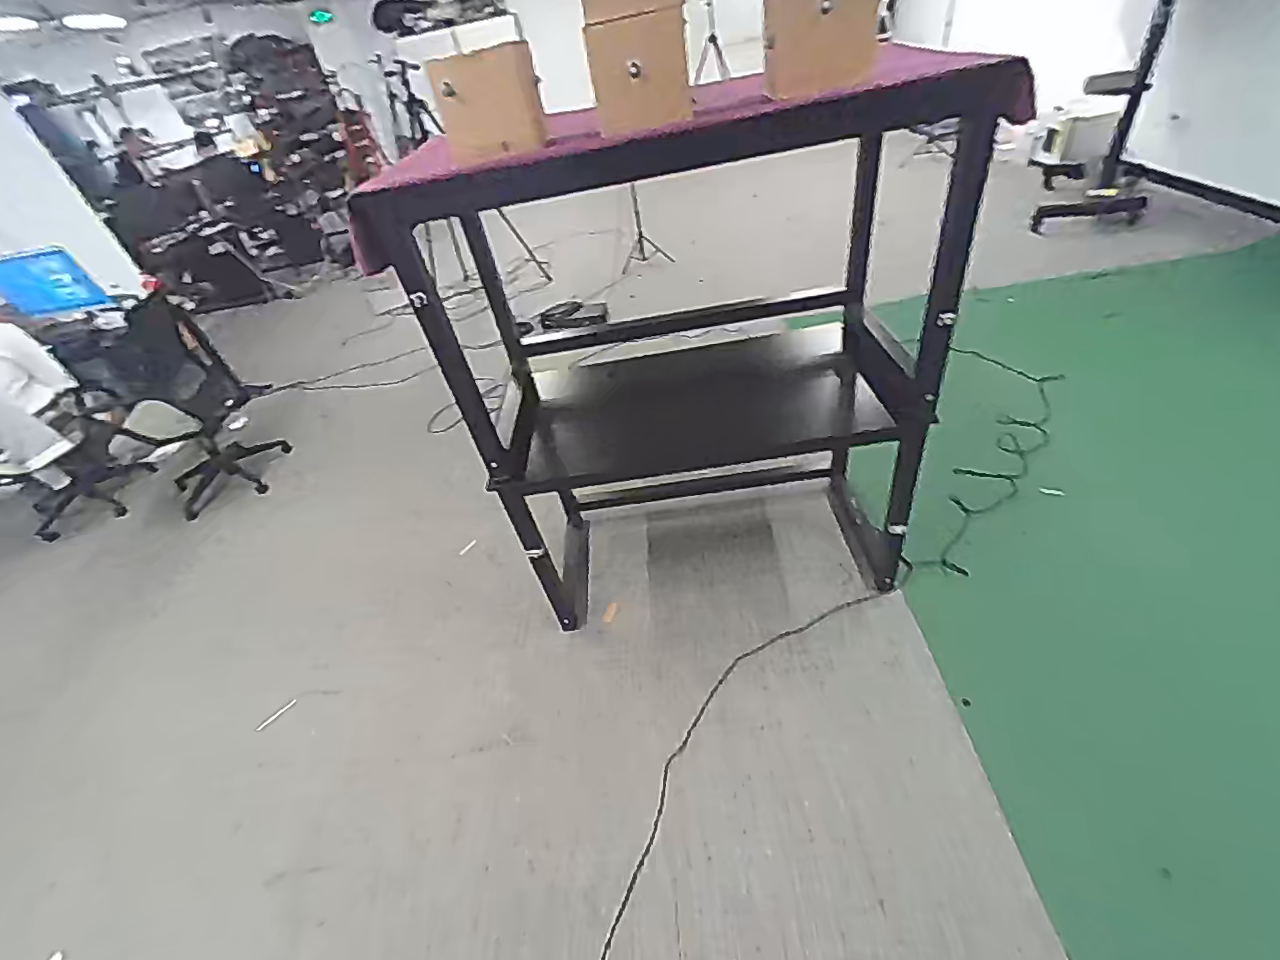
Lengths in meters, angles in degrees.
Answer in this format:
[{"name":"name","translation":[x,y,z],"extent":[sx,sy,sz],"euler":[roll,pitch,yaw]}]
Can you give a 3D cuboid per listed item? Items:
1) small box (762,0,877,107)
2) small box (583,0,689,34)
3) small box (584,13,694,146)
[{"name":"small box","translation":[0.328,-0.811,1.000],"extent":[0.179,0.176,0.168],"euler":[-6,40,9]},{"name":"small box","translation":[-0.016,-0.884,0.923],"extent":[0.179,0.176,0.168],"euler":[-8,40,8]},{"name":"small box","translation":[0.008,-0.756,1.022],"extent":[0.179,0.176,0.168],"euler":[-6,40,10]}]
